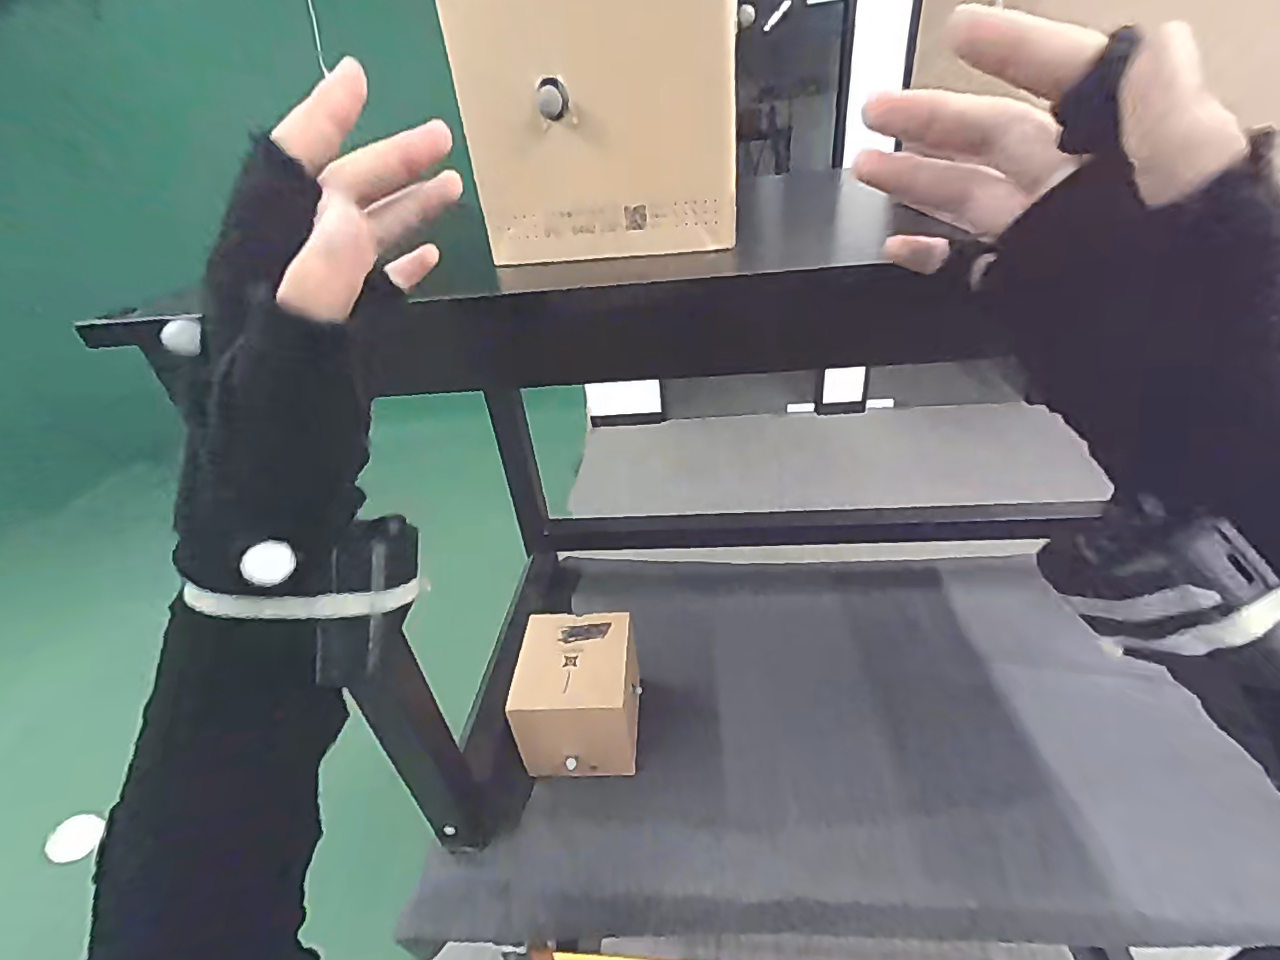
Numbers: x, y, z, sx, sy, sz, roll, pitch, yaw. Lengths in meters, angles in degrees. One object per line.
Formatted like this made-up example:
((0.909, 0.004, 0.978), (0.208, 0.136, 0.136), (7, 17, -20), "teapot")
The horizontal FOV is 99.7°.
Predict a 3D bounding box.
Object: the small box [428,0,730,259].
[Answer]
((-0.020, -0.264, 0.395), (0.168, 0.176, 0.179), (0, 32, 10), "small box")

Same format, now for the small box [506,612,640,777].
((-0.092, 0.329, 0.840), (0.168, 0.176, 0.179), (-4, 32, 5), "small box")
